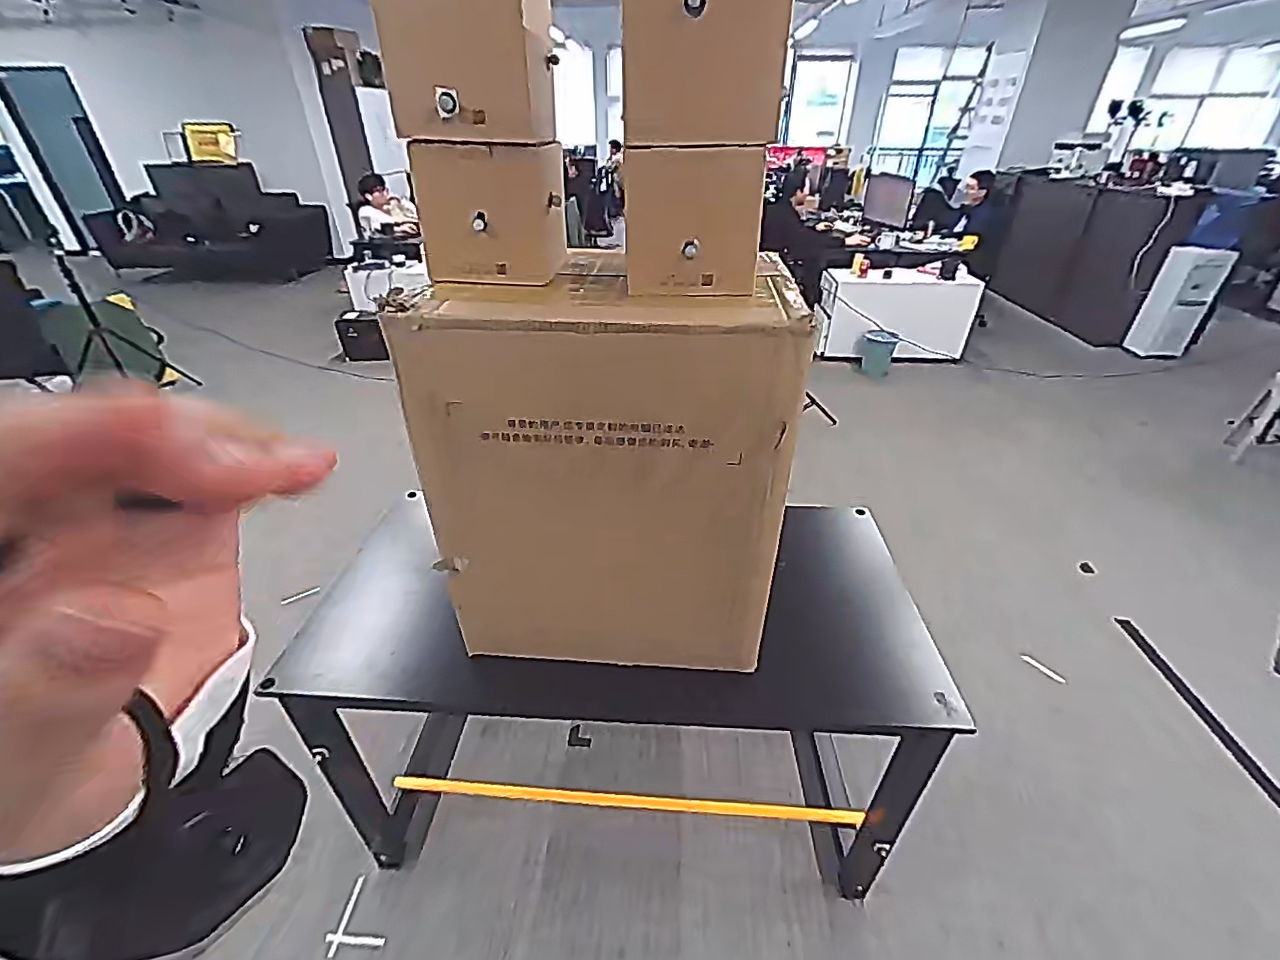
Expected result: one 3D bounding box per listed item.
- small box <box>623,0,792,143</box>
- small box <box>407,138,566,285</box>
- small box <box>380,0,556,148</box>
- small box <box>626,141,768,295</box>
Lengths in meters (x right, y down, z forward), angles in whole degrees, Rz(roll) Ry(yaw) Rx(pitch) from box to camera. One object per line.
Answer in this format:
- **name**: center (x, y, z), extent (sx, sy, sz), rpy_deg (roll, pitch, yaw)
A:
- **small box**: center (0.073, -0.490, 0.629), extent (0.179, 0.176, 0.168), rpy_deg (2, 34, 3)
- **small box**: center (-0.200, -0.383, 0.765), extent (0.168, 0.176, 0.179), rpy_deg (3, 34, 1)
- **small box**: center (-0.199, -0.512, 0.664), extent (0.168, 0.176, 0.179), rpy_deg (1, 34, 1)
- **small box**: center (0.071, -0.356, 0.725), extent (0.168, 0.176, 0.179), rpy_deg (1, 34, 4)
